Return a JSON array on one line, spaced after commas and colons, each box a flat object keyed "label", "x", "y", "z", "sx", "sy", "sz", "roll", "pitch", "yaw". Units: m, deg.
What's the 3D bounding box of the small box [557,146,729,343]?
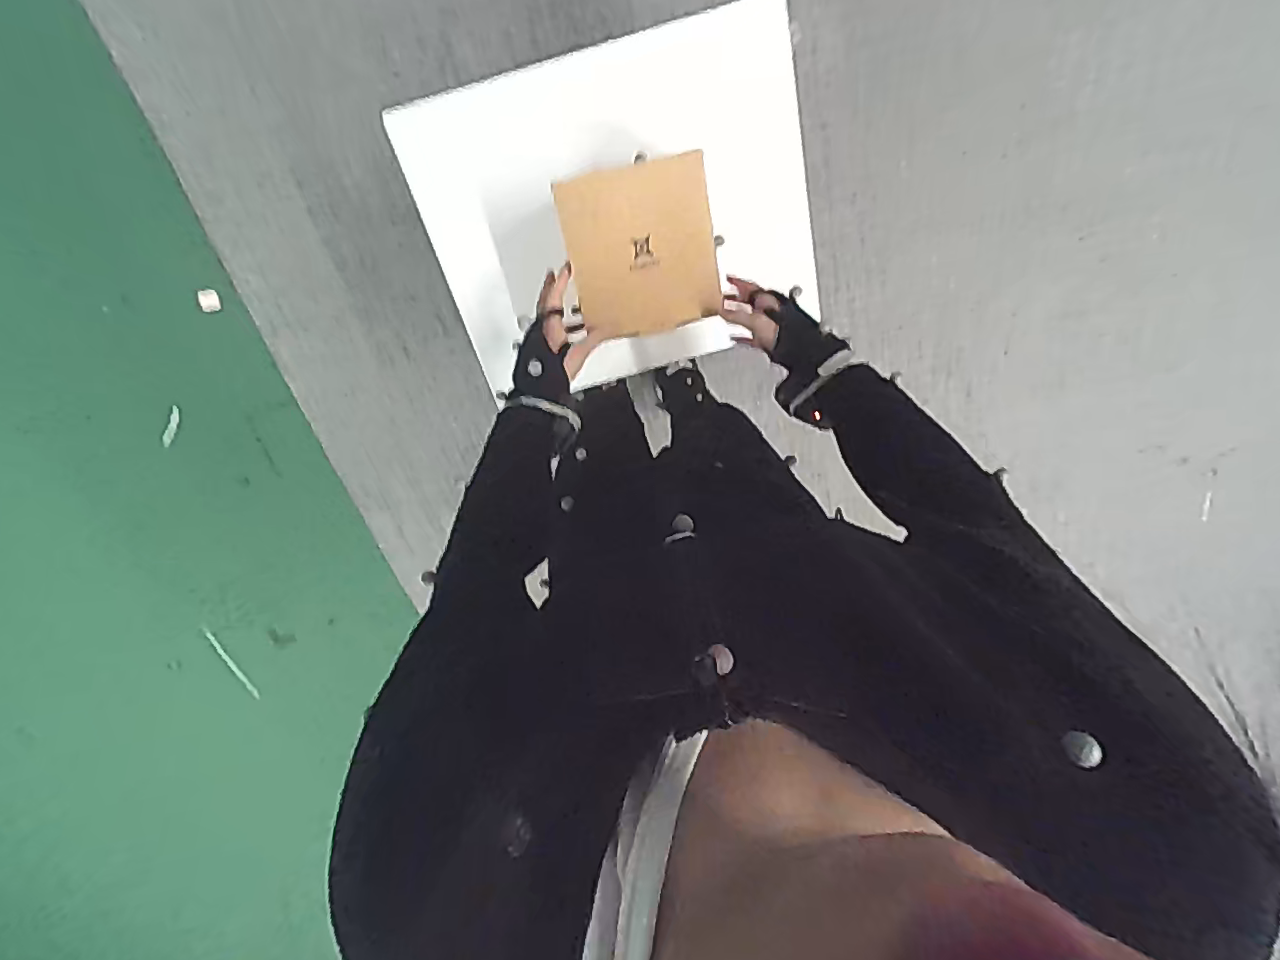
[{"label": "small box", "x": 0.003, "y": -0.285, "z": 0.670, "sx": 0.168, "sy": 0.176, "sz": 0.179, "roll": -13, "pitch": 115, "yaw": 3}]
